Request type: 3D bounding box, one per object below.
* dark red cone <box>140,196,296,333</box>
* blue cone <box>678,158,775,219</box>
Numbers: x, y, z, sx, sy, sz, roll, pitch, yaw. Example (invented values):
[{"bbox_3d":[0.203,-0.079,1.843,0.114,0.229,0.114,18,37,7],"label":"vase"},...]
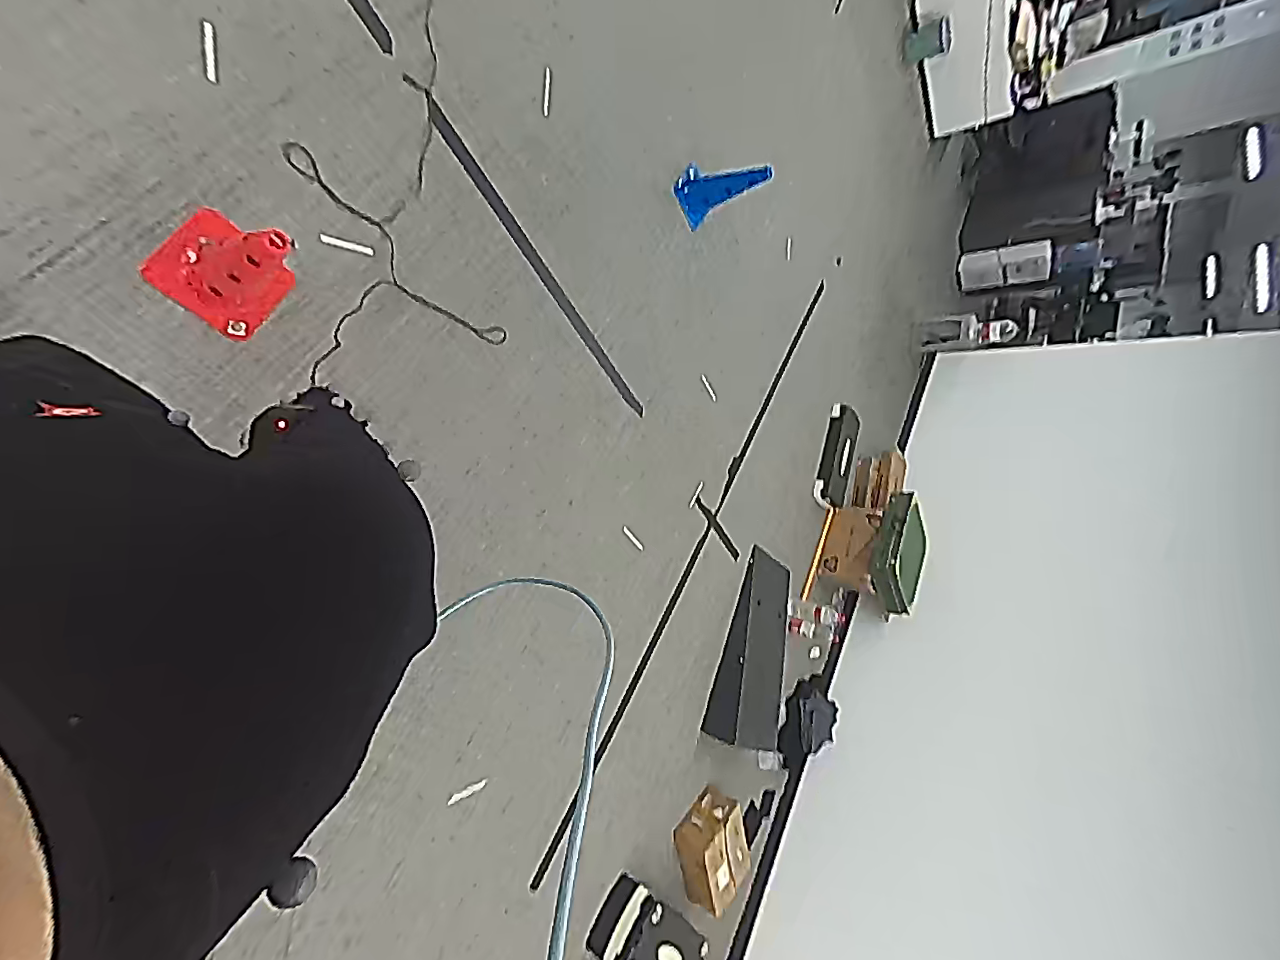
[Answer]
[{"bbox_3d":[-0.710,-0.415,0.974,0.202,0.394,0.201,43,62,-43],"label":"dark red cone"},{"bbox_3d":[0.350,-1.196,2.143,0.193,0.380,0.192,53,55,-38],"label":"blue cone"}]
